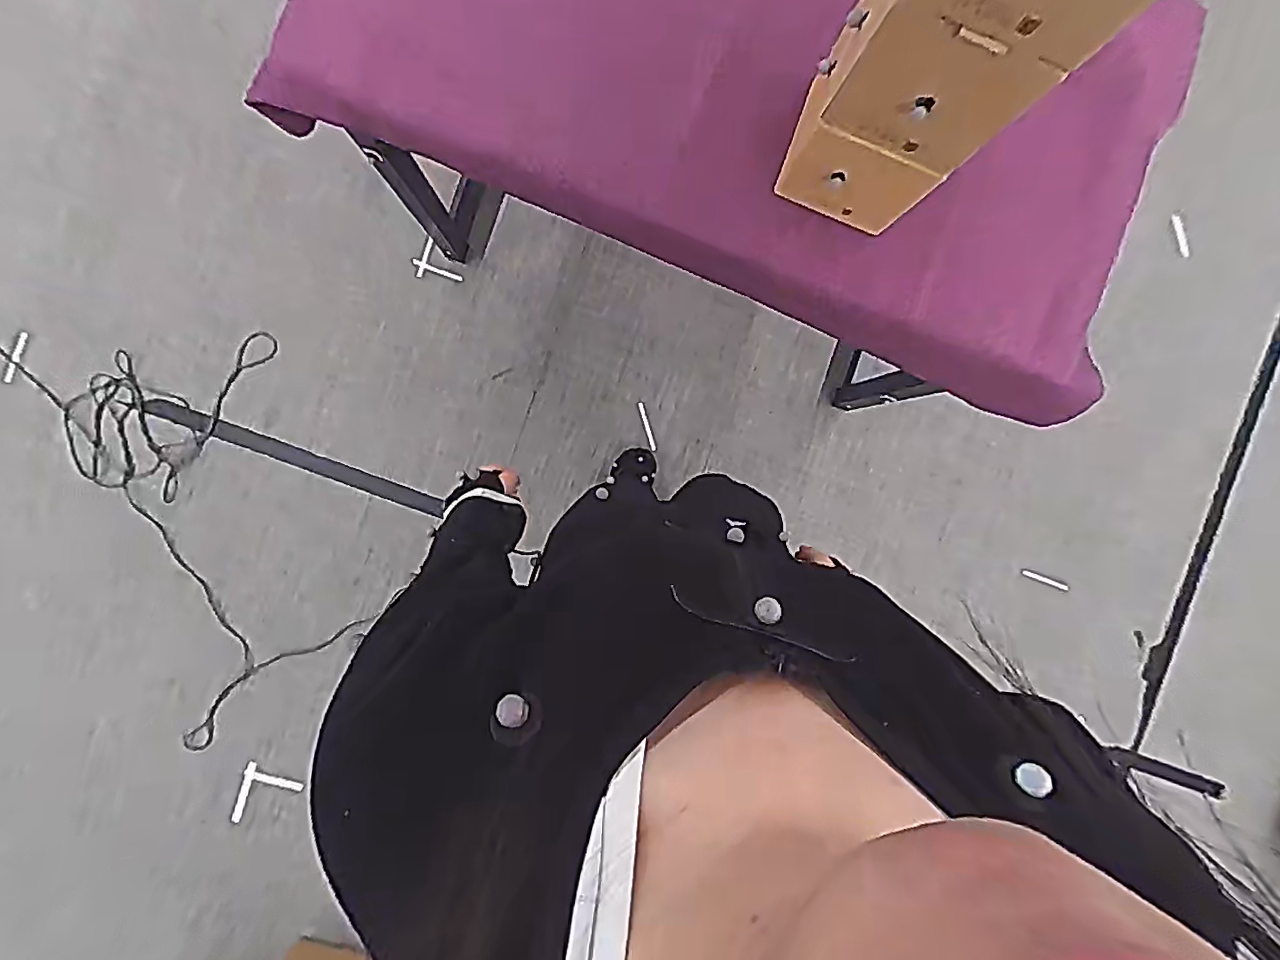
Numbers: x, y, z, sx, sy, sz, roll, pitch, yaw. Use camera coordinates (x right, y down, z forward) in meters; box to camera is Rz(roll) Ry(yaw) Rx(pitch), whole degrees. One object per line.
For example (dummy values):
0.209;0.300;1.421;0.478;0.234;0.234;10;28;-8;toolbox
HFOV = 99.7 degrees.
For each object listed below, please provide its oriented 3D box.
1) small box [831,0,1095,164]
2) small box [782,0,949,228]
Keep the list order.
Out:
0.315;-0.459;0.535;0.168;0.176;0.179;21;91;-4;small box
0.301;-0.461;0.699;0.168;0.176;0.179;20;90;-4;small box
